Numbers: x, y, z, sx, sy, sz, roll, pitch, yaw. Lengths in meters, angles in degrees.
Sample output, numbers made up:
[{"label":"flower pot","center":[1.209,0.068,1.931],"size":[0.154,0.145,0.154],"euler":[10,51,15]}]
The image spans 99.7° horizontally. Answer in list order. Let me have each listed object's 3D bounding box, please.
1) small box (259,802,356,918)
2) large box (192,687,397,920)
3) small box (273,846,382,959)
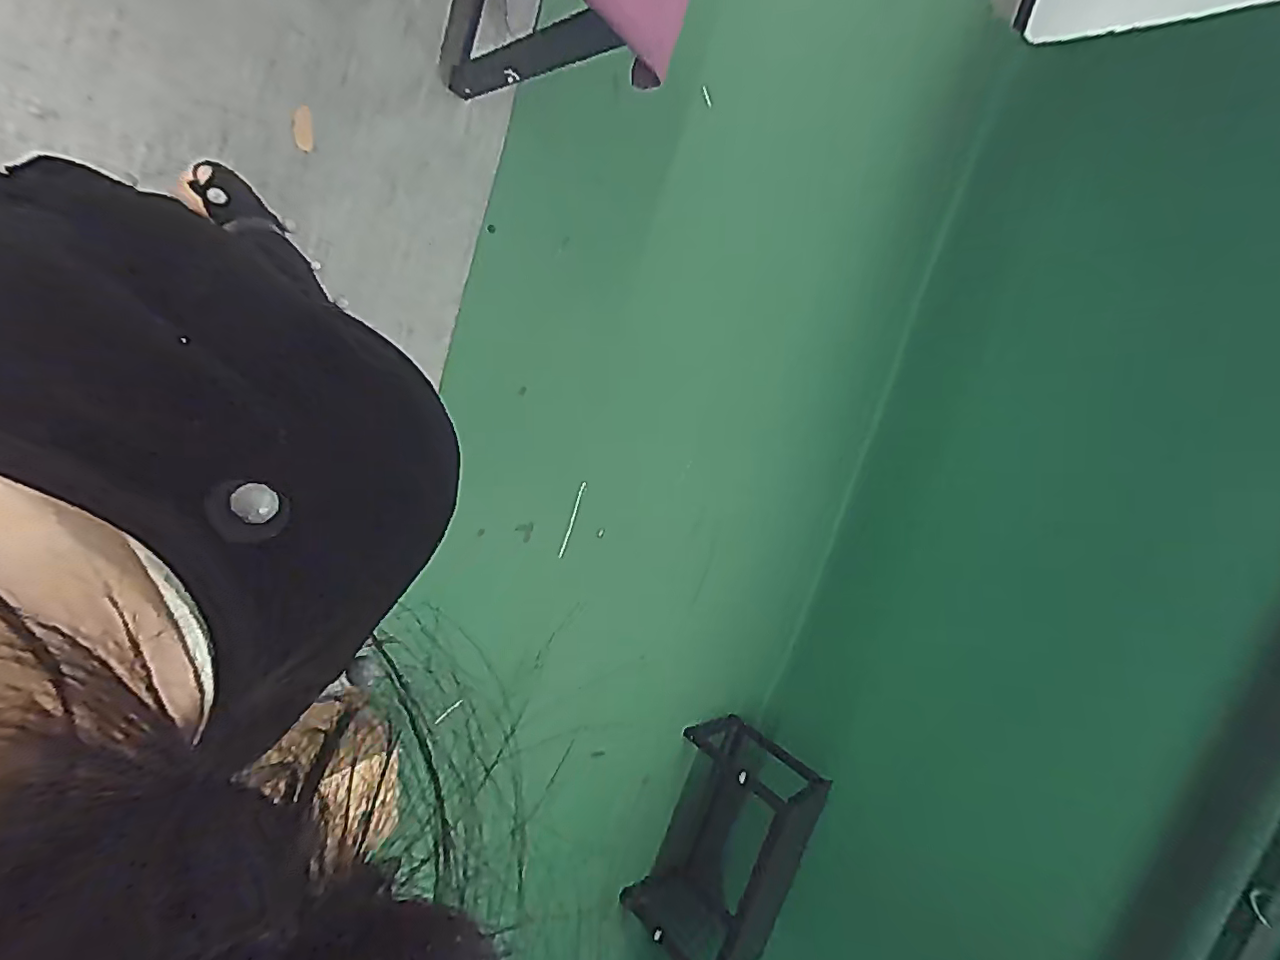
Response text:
[{"label":"small box","center":[-0.797,0.916,1.297],"size":[0.168,0.176,0.179],"euler":[-9,114,-44]},{"label":"large box","center":[-0.938,0.850,1.490],"size":[0.408,0.320,0.320],"euler":[-11,116,-45]},{"label":"small box","center":[-0.687,0.968,1.188],"size":[0.179,0.176,0.168],"euler":[-11,115,-44]}]
